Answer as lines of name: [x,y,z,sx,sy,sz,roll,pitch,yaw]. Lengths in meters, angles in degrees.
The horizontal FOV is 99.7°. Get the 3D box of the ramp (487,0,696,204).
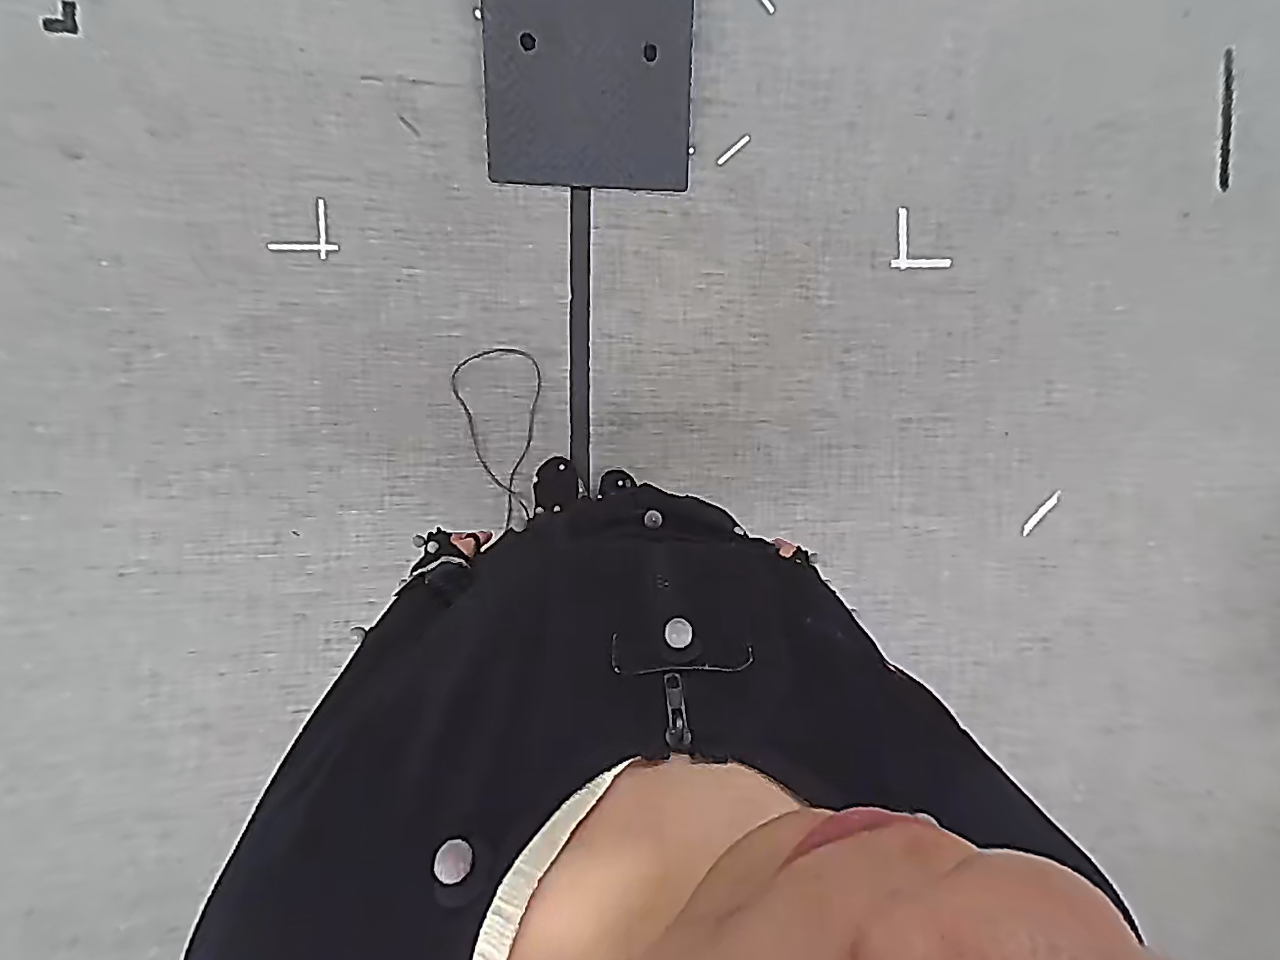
ramp: [-0.107,-1.184,1.248,0.509,0.206,0.991,-3,93,-8]
